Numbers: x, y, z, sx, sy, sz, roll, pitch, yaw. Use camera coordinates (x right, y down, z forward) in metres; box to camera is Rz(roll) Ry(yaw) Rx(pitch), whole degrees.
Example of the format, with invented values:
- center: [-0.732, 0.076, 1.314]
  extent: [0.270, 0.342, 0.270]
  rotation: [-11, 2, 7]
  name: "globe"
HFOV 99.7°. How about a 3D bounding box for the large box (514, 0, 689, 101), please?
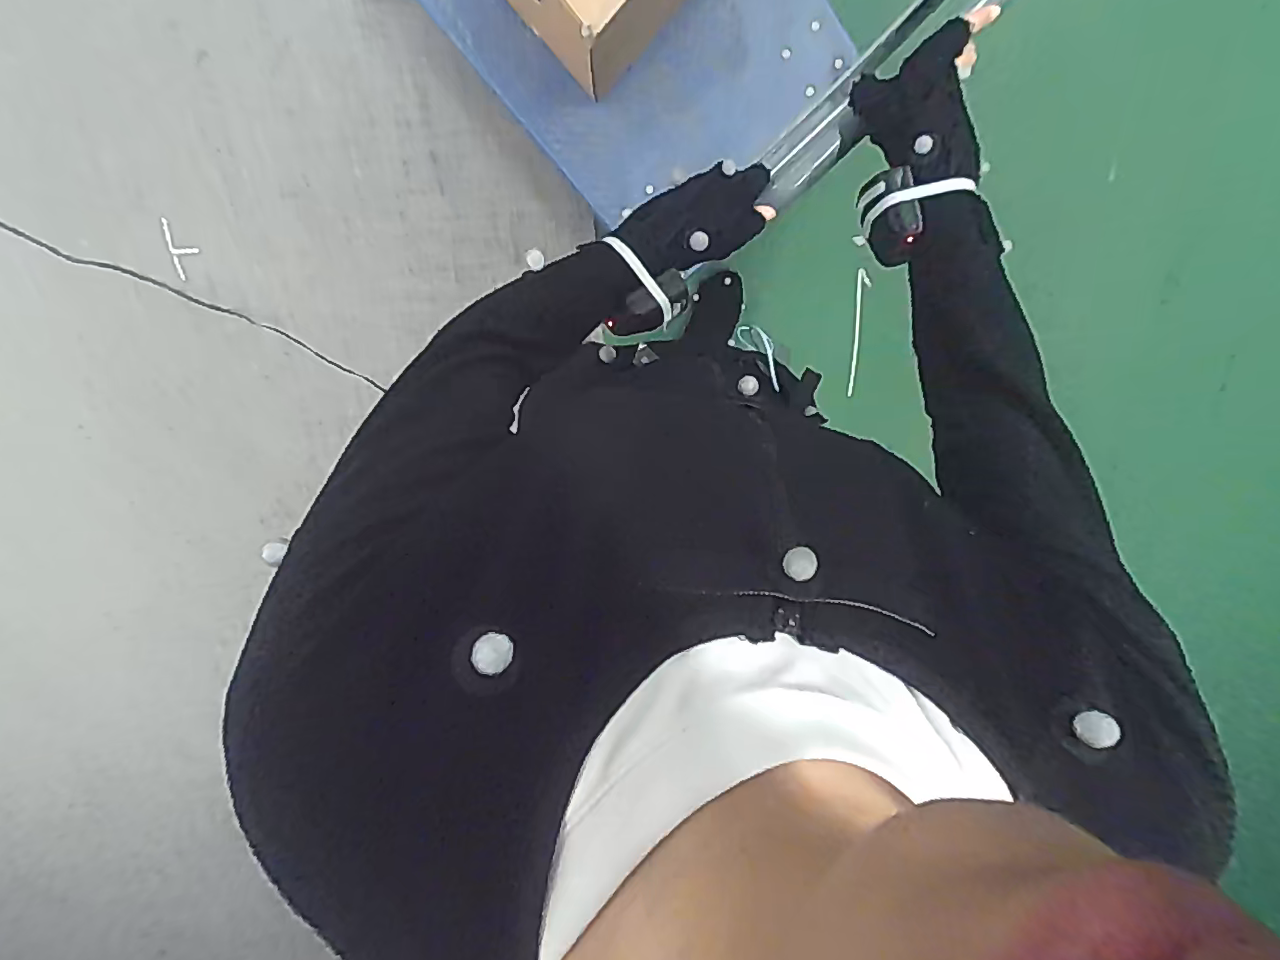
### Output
- center: [-0.033, -0.918, 0.841]
  extent: [0.408, 0.320, 0.320]
  rotation: [-43, 106, 12]
  name: "large box"
